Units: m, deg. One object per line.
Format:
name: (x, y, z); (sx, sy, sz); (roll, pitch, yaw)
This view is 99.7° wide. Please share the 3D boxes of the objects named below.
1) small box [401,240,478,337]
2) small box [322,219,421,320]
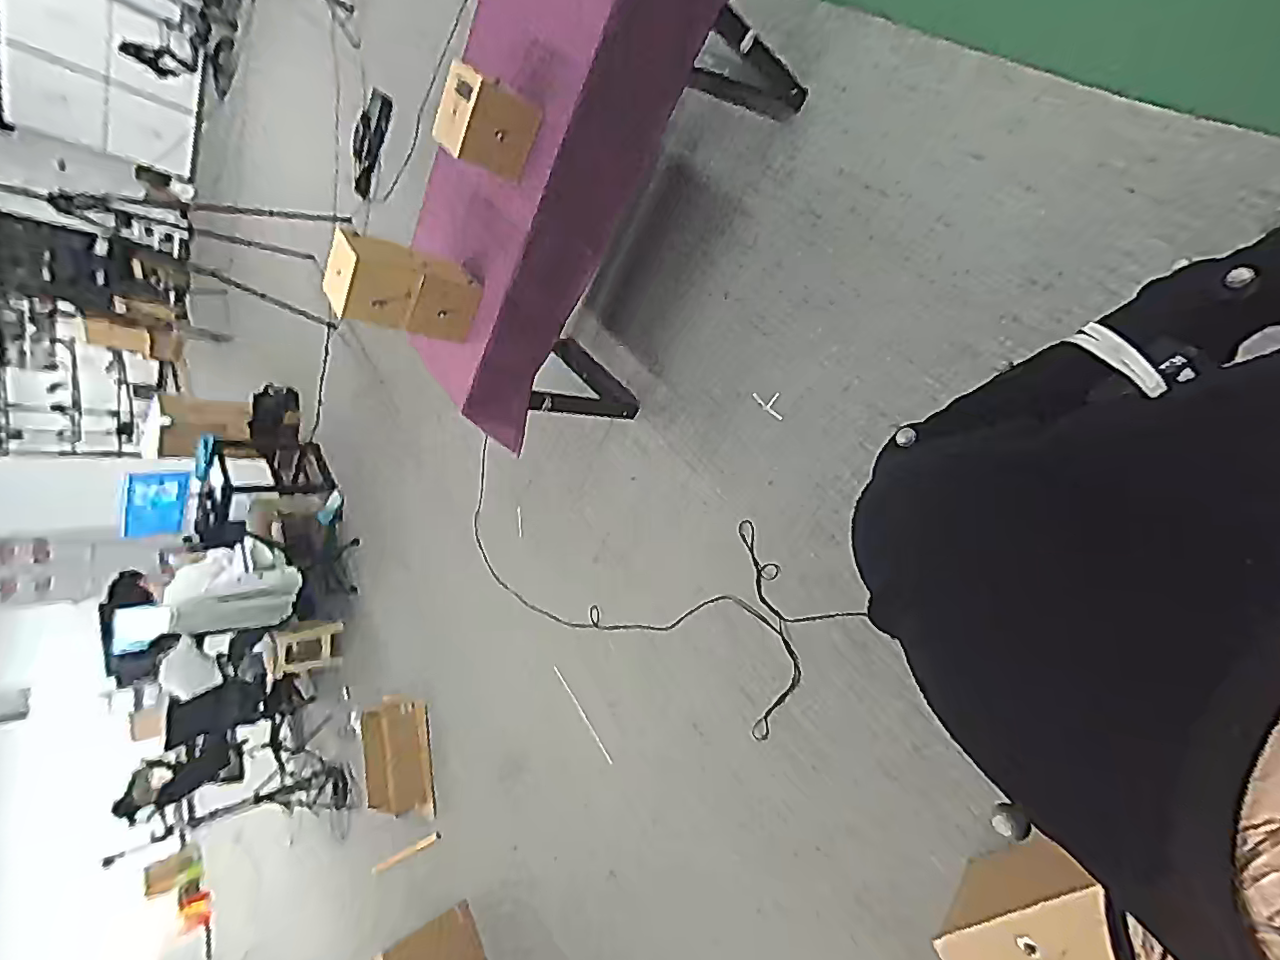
small box: (-0.569, -0.521, 1.490); (0.168, 0.176, 0.179); (49, 121, 31)
small box: (-0.678, -0.523, 1.370); (0.179, 0.176, 0.168); (51, 122, 31)
